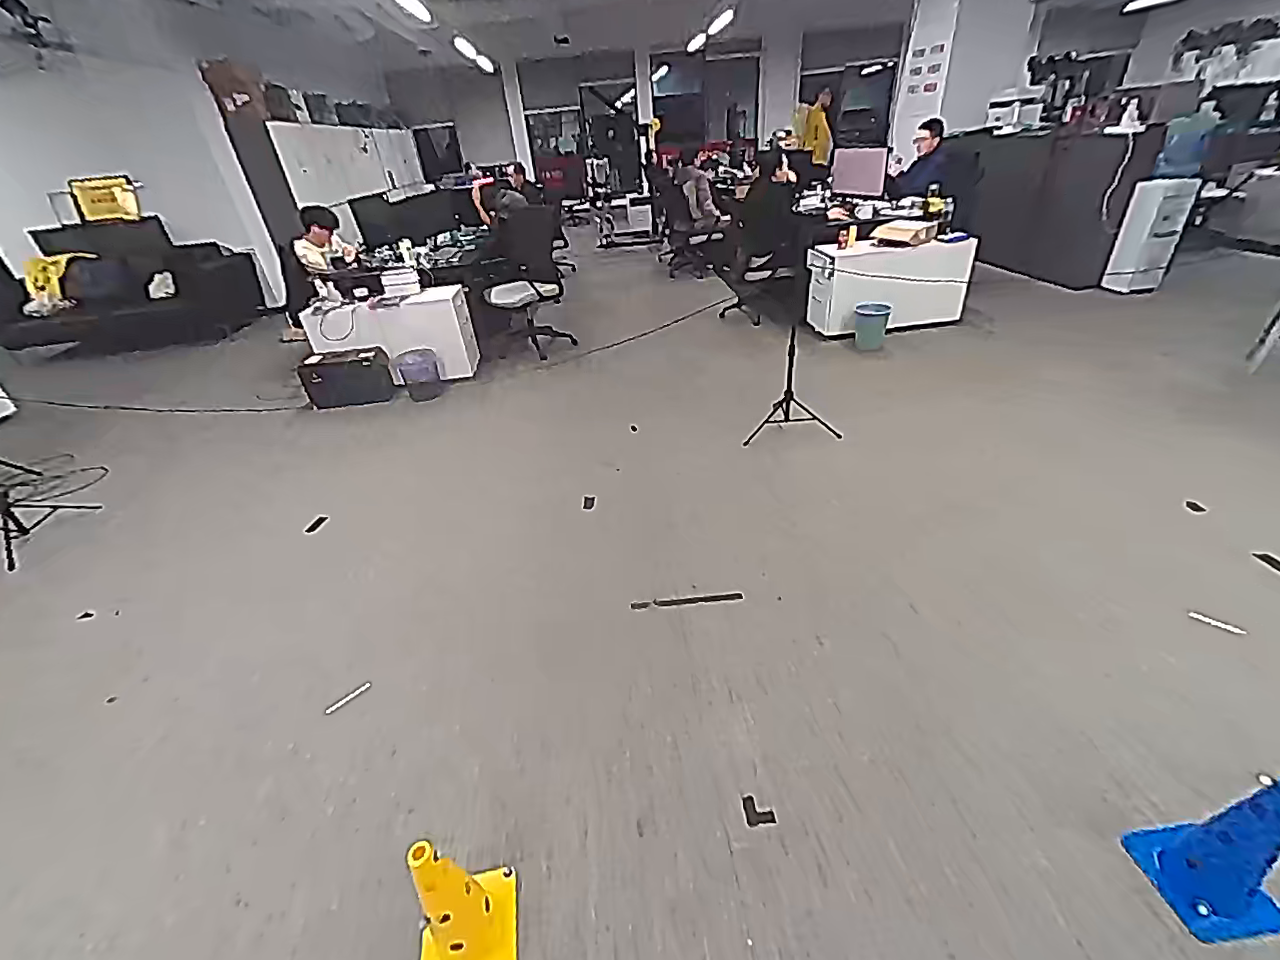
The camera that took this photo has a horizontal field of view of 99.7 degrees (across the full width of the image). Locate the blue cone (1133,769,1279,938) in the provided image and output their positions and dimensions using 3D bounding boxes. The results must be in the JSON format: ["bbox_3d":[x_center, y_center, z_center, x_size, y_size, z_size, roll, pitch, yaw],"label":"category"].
[{"bbox_3d":[1.154,0.683,1.029,0.193,0.380,0.192,-6,31,-1],"label":"blue cone"}]
